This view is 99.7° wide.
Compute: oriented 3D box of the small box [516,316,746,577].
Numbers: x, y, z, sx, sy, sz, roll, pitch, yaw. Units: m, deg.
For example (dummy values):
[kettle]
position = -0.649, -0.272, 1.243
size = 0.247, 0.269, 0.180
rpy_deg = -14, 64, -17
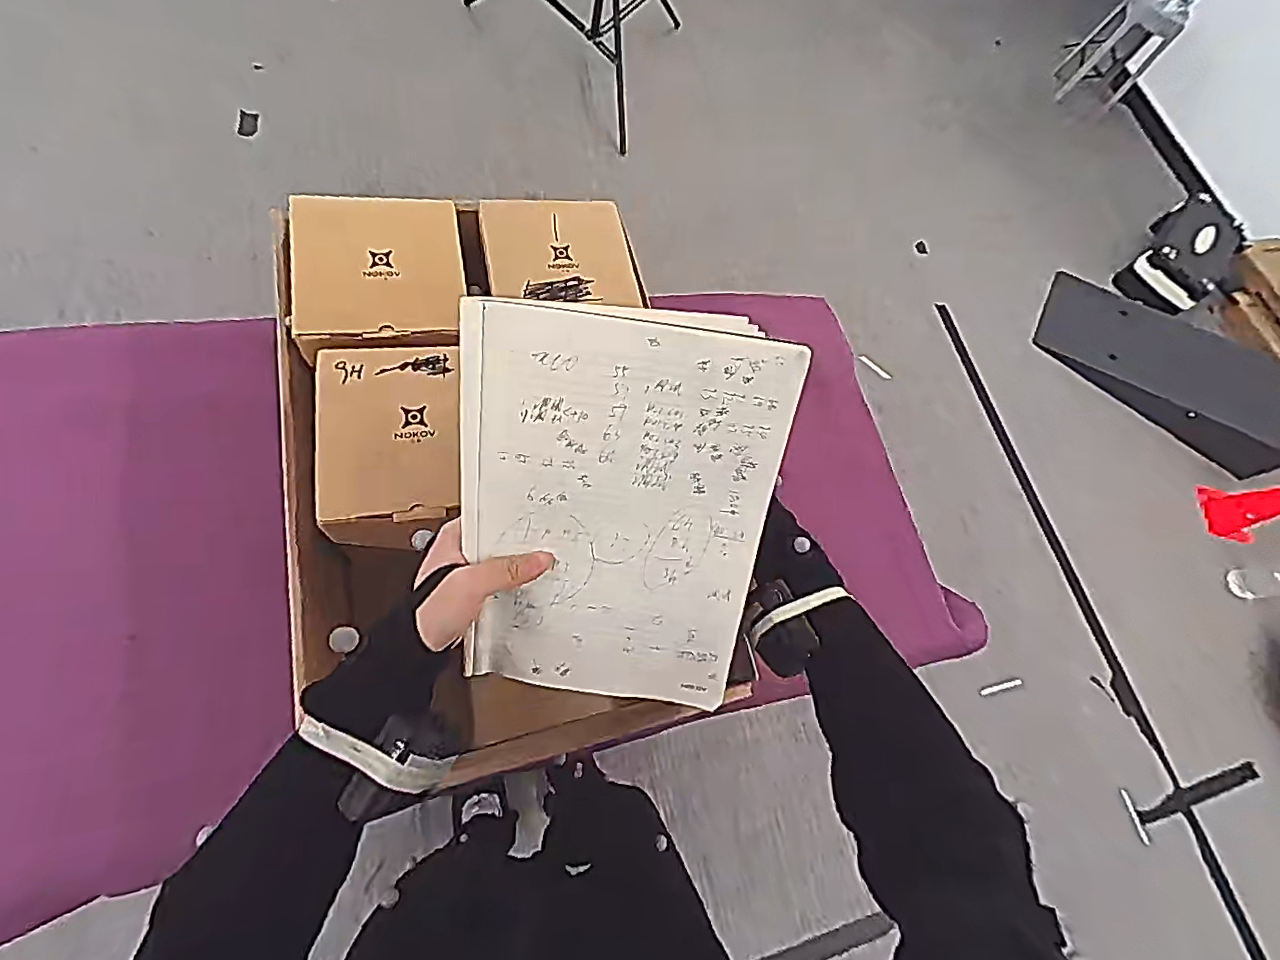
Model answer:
[small box]
position = -0.017, -0.022, 0.482
size = 0.168, 0.176, 0.179
rpy_deg = -4, 69, -5
